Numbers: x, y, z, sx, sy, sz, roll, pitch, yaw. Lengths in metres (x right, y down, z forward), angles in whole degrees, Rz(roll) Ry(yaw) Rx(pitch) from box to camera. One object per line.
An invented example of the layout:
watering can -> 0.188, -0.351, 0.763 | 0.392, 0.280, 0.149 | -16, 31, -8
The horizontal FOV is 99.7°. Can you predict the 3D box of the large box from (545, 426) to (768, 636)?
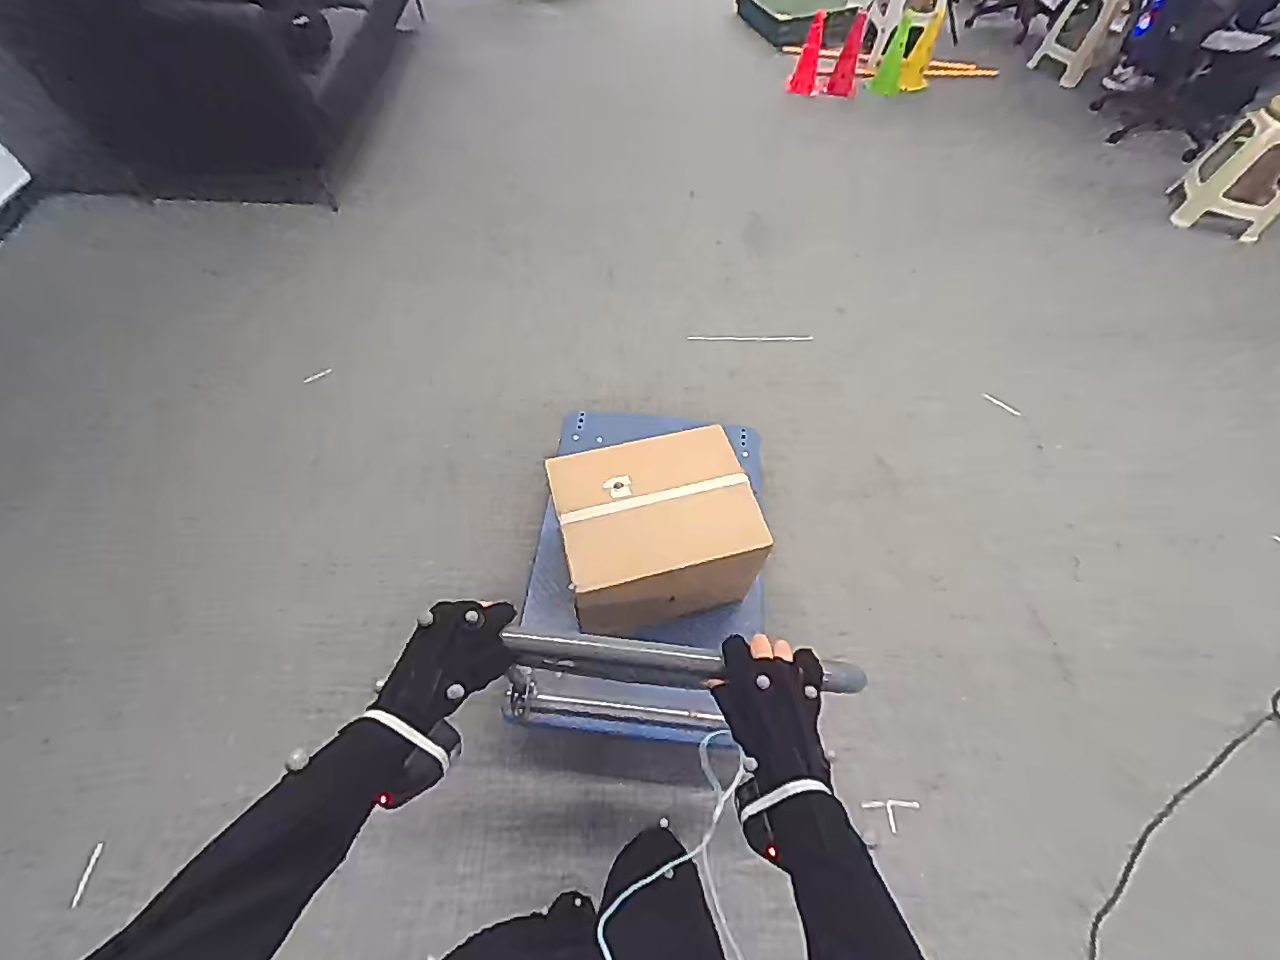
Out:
large box -> 0.026, 0.124, 1.252 | 0.408, 0.320, 0.320 | -14, 58, -9
